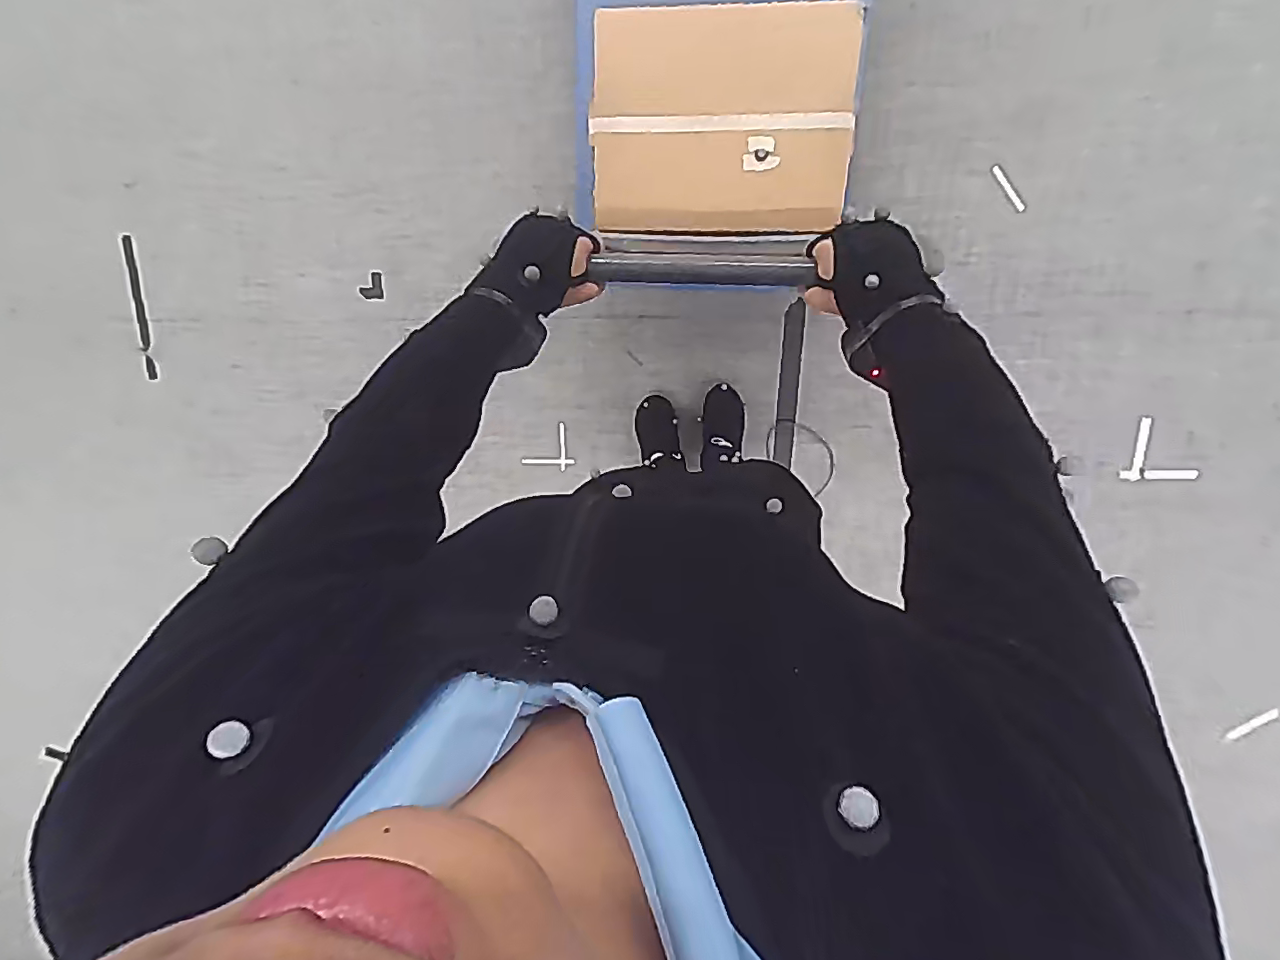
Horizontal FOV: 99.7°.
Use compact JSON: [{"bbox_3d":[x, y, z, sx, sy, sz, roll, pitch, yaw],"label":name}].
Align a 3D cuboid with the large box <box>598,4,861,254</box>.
[{"bbox_3d":[0.145,-0.608,1.005,0.408,0.320,0.320,2,107,5],"label":"large box"}]
